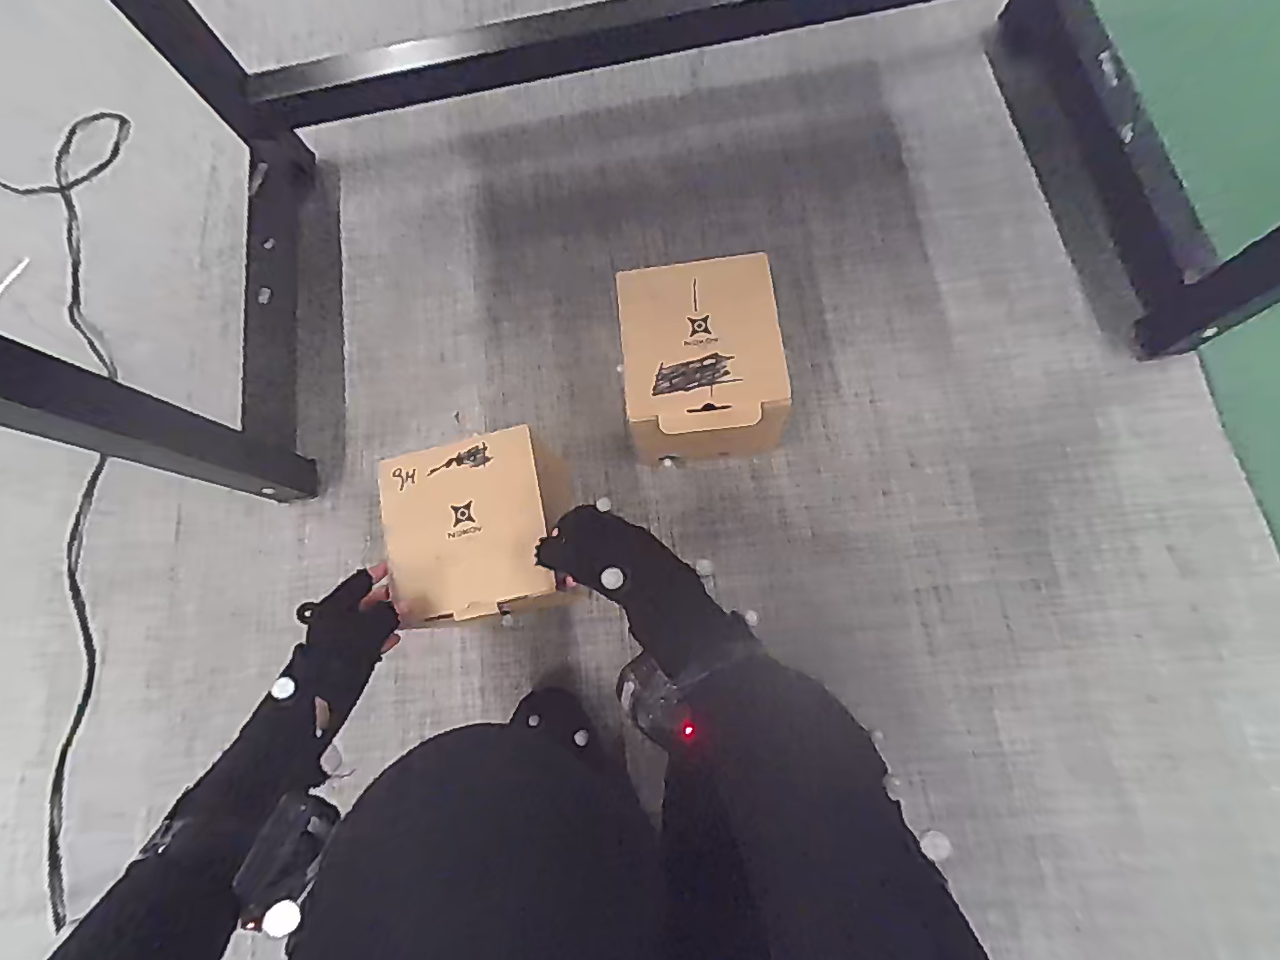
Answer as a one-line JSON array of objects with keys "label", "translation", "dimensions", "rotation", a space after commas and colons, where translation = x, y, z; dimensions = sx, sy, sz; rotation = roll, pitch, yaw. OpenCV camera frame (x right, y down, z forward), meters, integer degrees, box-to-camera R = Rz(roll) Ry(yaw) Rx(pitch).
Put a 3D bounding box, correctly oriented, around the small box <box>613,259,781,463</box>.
[{"label": "small box", "translation": [0.064, -0.126, 0.640], "dimensions": [0.168, 0.176, 0.179], "rotation": [-6, 74, 4]}]
